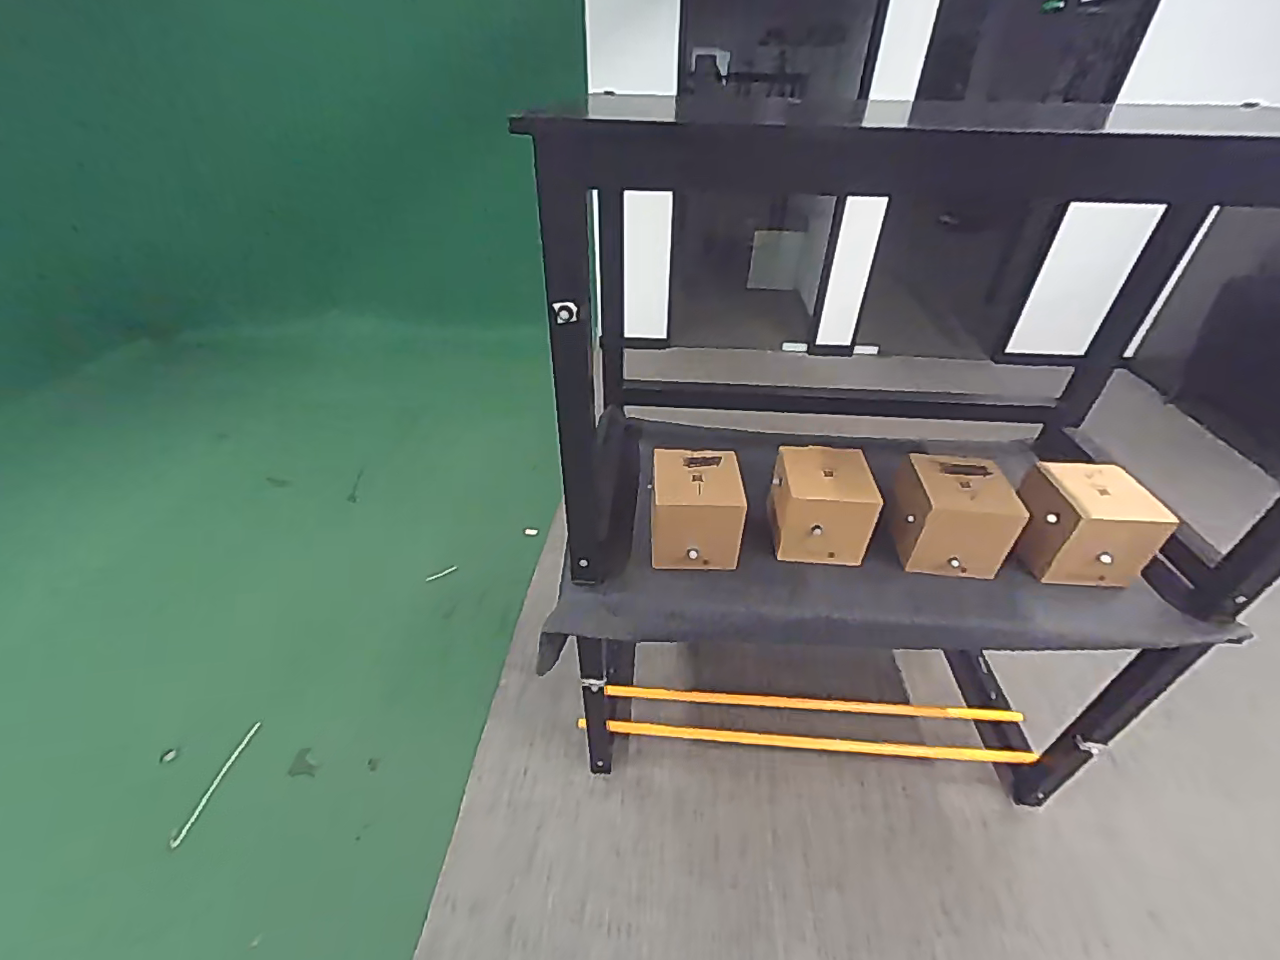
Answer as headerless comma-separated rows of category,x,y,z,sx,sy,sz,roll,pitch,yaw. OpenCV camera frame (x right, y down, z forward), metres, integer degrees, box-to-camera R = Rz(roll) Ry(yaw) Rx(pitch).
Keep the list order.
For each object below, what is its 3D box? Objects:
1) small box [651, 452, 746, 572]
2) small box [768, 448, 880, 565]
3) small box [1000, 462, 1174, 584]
small box,0.108,0.061,1.076,0.168,0.176,0.179,0,38,0
small box,0.361,0.053,1.094,0.168,0.176,0.179,3,37,3
small box,0.851,0.085,1.053,0.168,0.176,0.179,3,36,2
